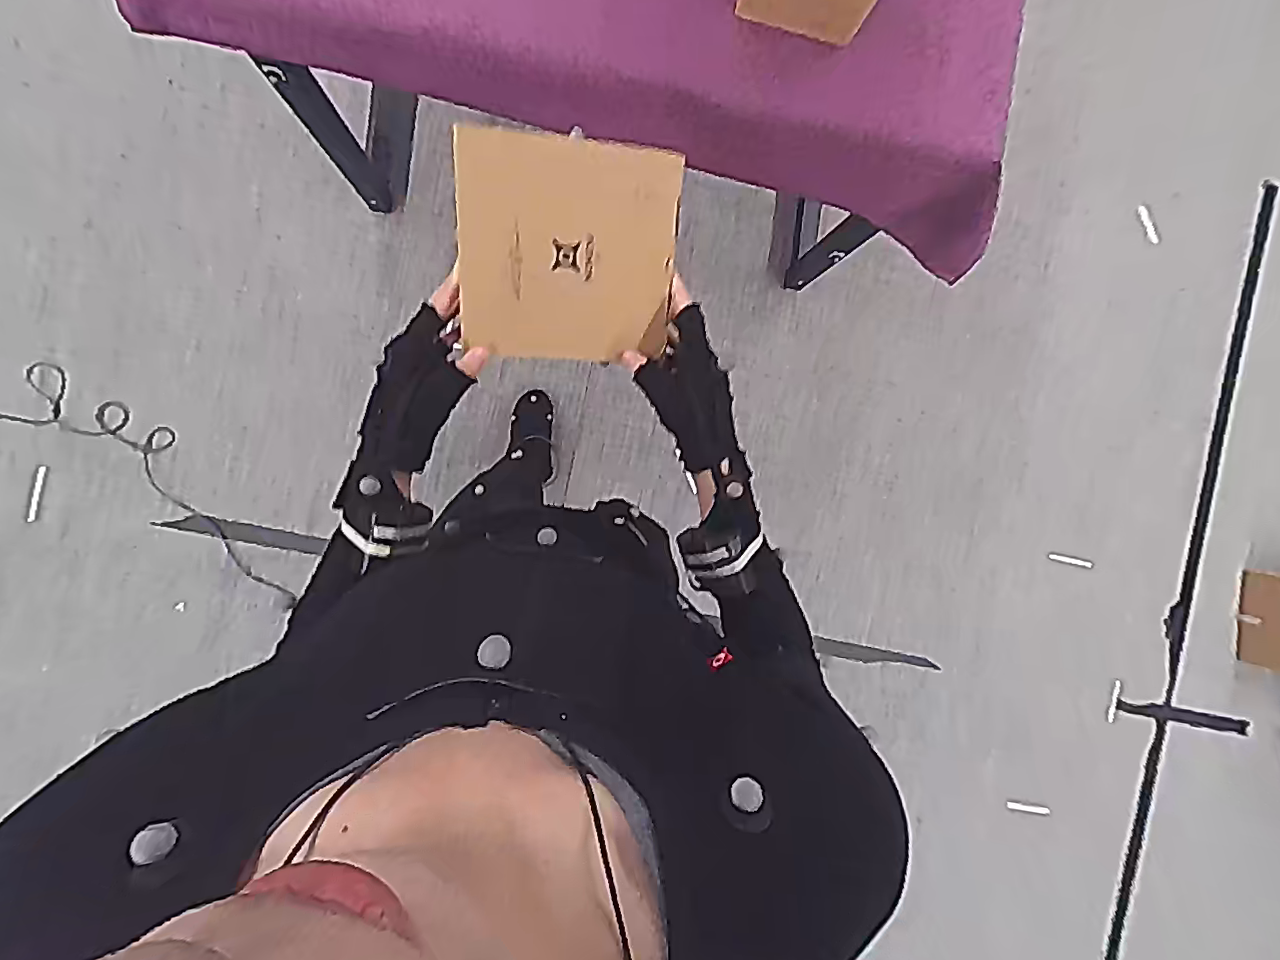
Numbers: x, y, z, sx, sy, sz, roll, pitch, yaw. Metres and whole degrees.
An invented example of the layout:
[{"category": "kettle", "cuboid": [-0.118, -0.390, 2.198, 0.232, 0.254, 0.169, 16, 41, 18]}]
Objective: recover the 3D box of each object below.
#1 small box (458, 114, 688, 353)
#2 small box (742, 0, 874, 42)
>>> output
[{"category": "small box", "cuboid": [-0.067, -0.215, 0.505, 0.179, 0.176, 0.168, -1, 109, -11]}, {"category": "small box", "cuboid": [0.248, -0.734, 0.715, 0.179, 0.176, 0.168, 9, 91, -7]}]
